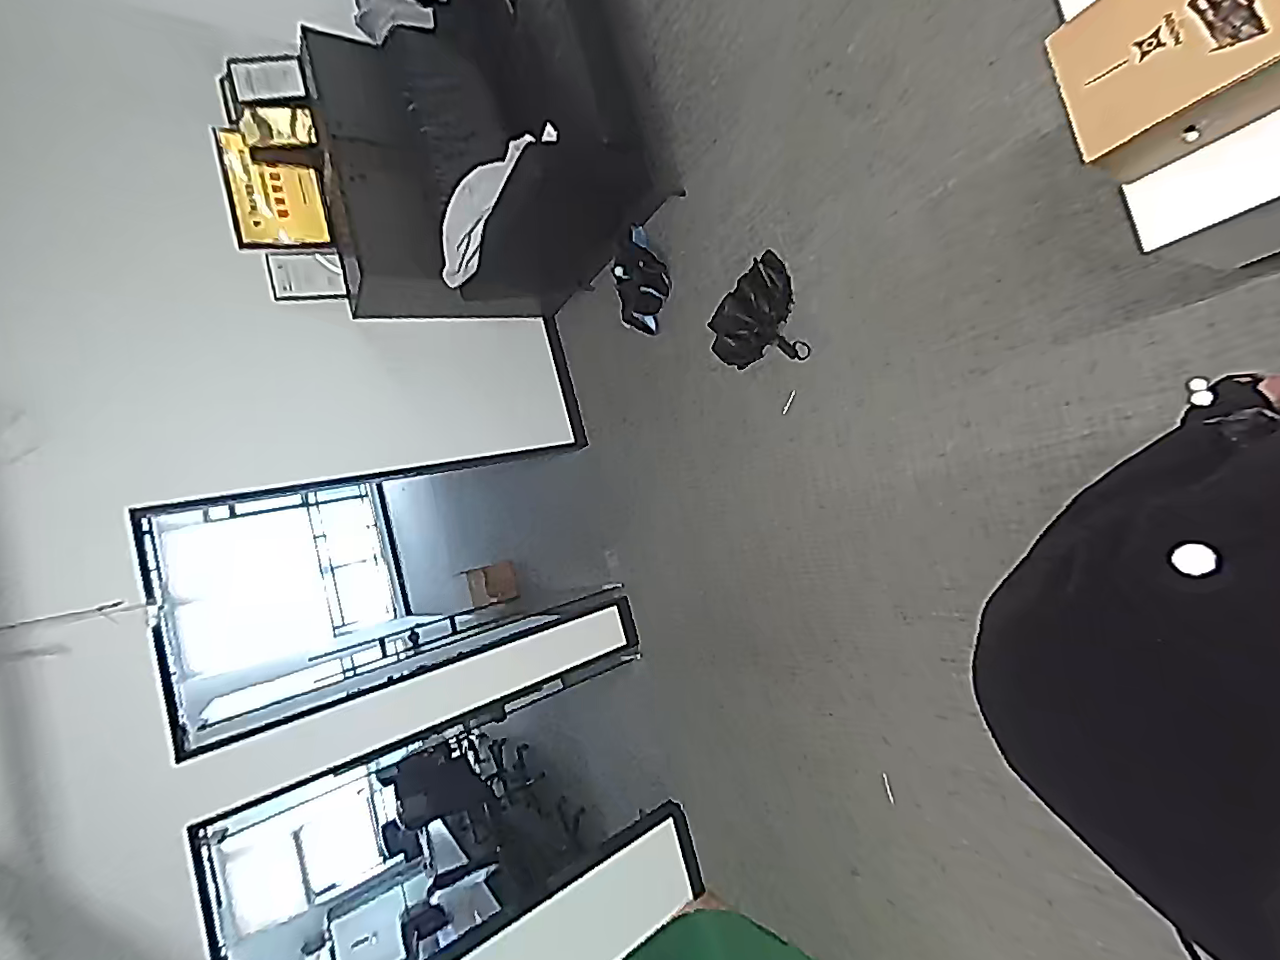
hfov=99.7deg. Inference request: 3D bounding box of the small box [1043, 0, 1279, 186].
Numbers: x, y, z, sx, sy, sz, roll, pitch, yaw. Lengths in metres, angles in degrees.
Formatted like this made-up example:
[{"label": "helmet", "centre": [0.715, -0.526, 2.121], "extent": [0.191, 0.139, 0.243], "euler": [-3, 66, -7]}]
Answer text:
[{"label": "small box", "centre": [0.615, -0.474, 0.621], "extent": [0.179, 0.176, 0.168], "euler": [-20, 82, 56]}]
